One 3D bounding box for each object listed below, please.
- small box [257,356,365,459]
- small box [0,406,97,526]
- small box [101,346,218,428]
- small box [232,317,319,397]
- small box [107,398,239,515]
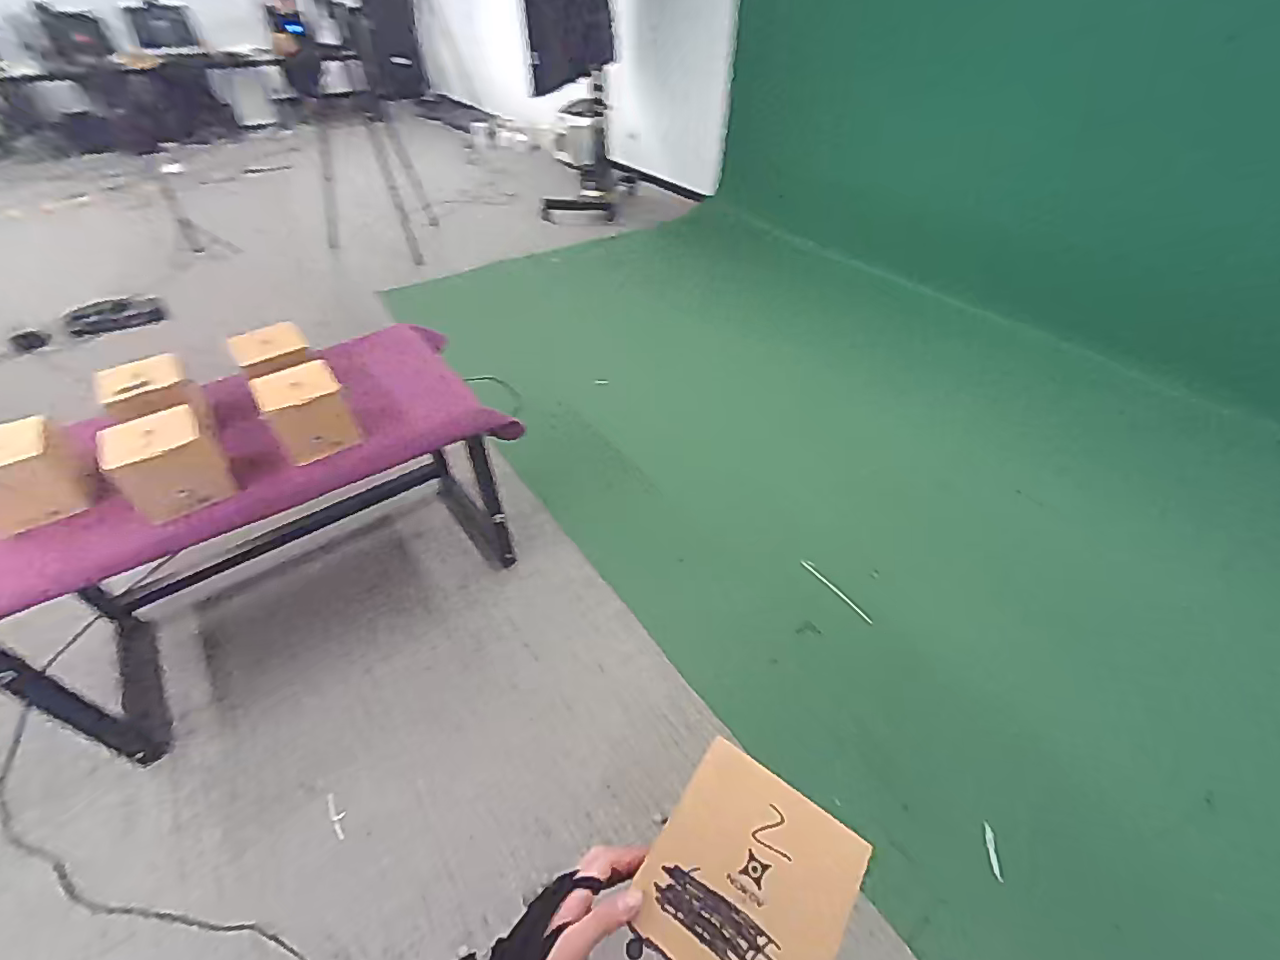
[{"bbox_3d":[-0.828,-0.184,1.368,0.168,0.176,0.179,-28,51,-26],"label":"small box"},{"bbox_3d":[-1.357,-0.031,1.194,0.168,0.176,0.179,-27,51,-24],"label":"small box"},{"bbox_3d":[-1.224,-0.212,1.387,0.168,0.176,0.179,-28,51,-27],"label":"small box"},{"bbox_3d":[-0.996,-0.327,1.513,0.168,0.176,0.179,-29,53,-26],"label":"small box"},{"bbox_3d":[-1.052,-0.053,1.225,0.168,0.176,0.179,-28,50,-26],"label":"small box"}]
